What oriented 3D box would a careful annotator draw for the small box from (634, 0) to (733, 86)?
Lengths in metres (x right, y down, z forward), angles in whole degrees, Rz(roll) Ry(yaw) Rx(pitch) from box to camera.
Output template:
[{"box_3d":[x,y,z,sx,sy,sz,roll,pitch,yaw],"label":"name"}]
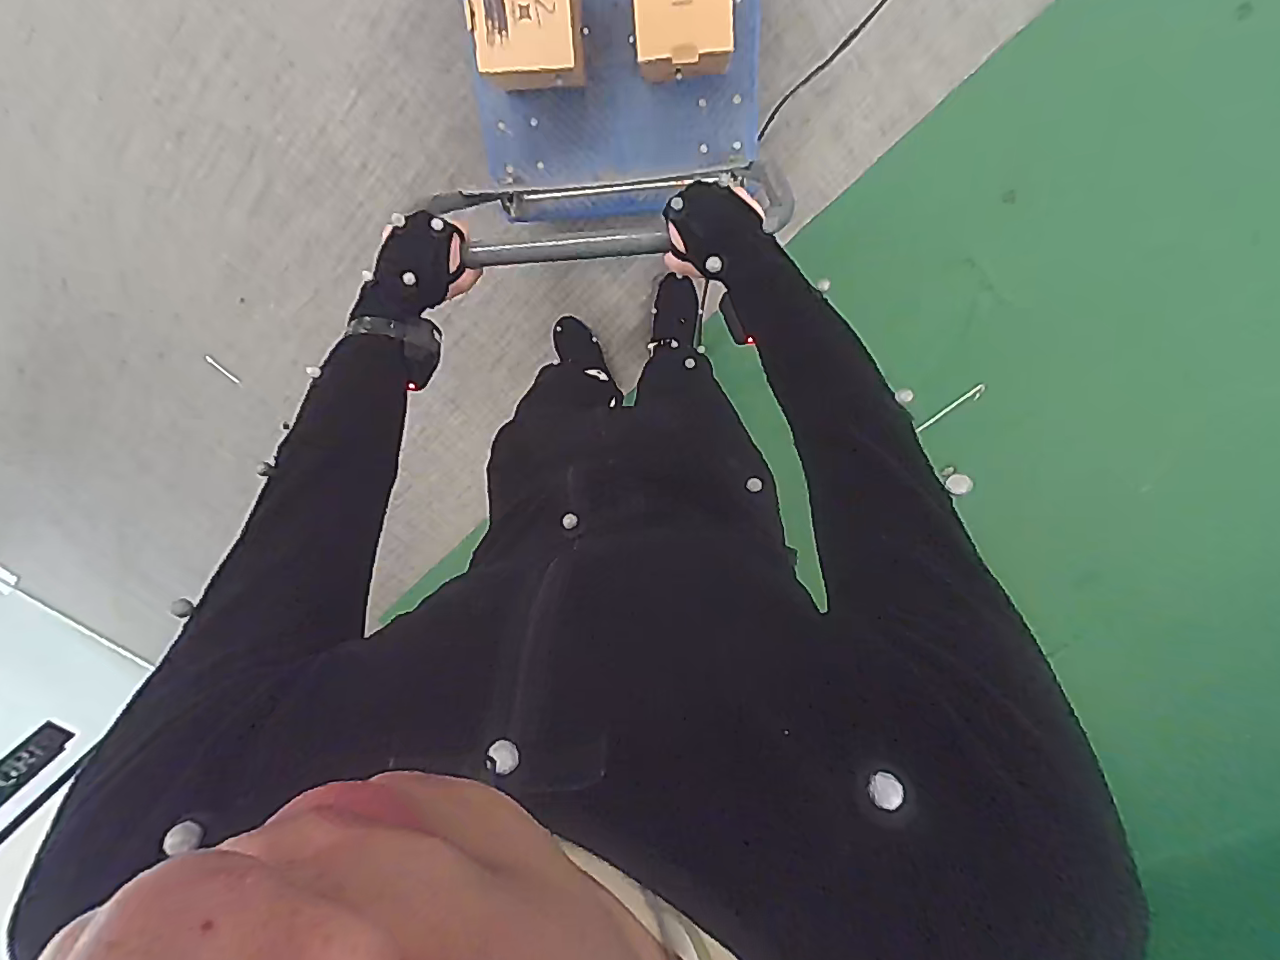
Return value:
[{"box_3d":[0.075,-0.833,0.967,0.168,0.176,0.179,-3,118,5],"label":"small box"}]
